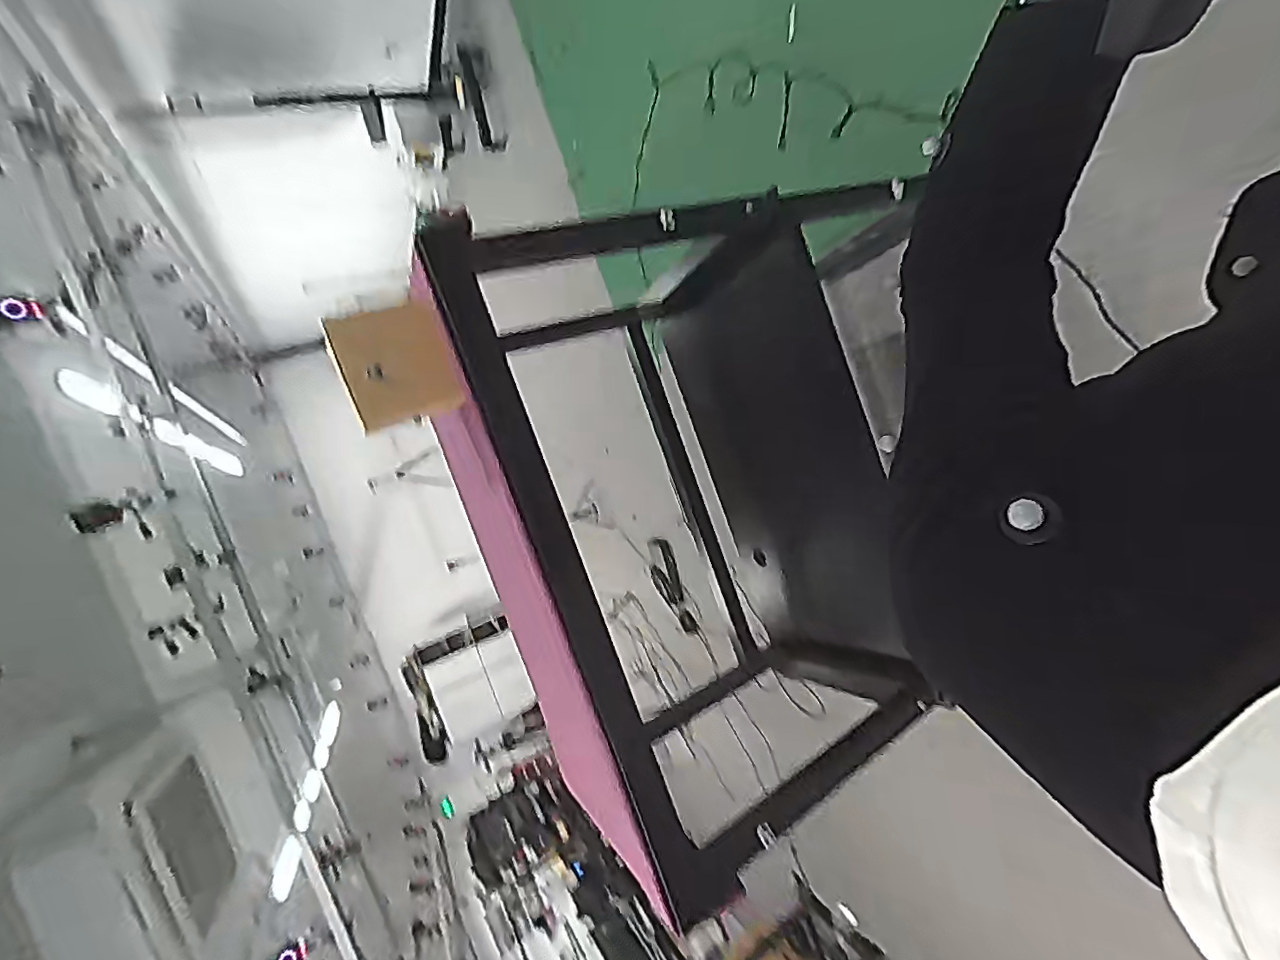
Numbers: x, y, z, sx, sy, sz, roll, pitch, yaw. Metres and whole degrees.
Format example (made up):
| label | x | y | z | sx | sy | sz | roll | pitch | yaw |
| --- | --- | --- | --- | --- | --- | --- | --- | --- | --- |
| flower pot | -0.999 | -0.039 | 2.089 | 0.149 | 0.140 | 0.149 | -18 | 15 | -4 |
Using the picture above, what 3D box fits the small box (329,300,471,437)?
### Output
| label | x | y | z | sx | sy | sz | roll | pitch | yaw |
| --- | --- | --- | --- | --- | --- | --- | --- | --- | --- |
| small box | -0.408 | -0.188 | 0.931 | 0.168 | 0.176 | 0.179 | -4 | 106 | 63 |
